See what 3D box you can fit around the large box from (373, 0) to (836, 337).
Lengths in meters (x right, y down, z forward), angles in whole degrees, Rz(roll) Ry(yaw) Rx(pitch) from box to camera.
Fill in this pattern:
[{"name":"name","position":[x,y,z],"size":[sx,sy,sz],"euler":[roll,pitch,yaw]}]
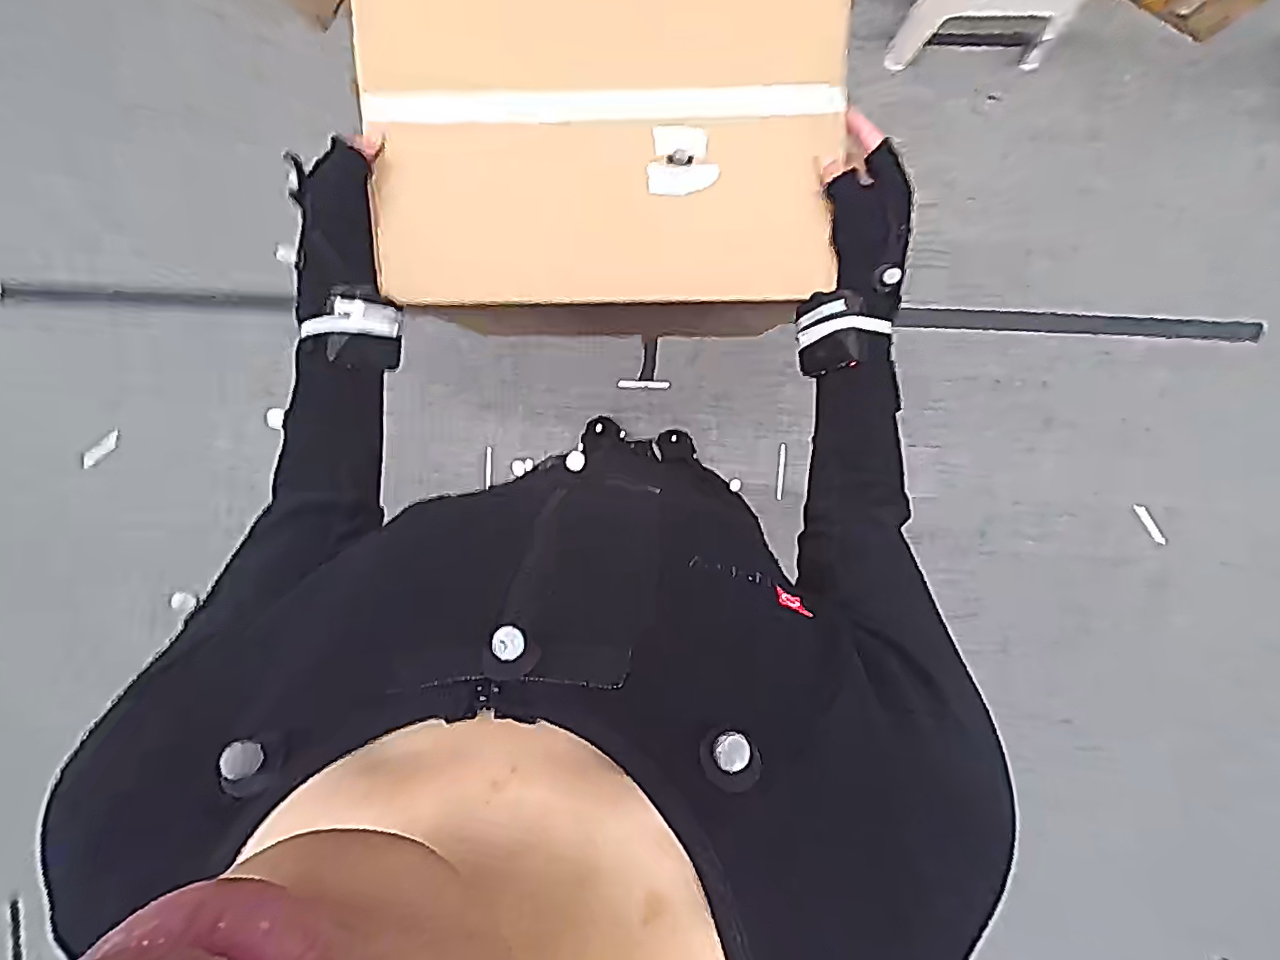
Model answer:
[{"name":"large box","position":[-0.030,-0.342,0.621],"size":[0.408,0.320,0.320],"euler":[0,100,0]}]
